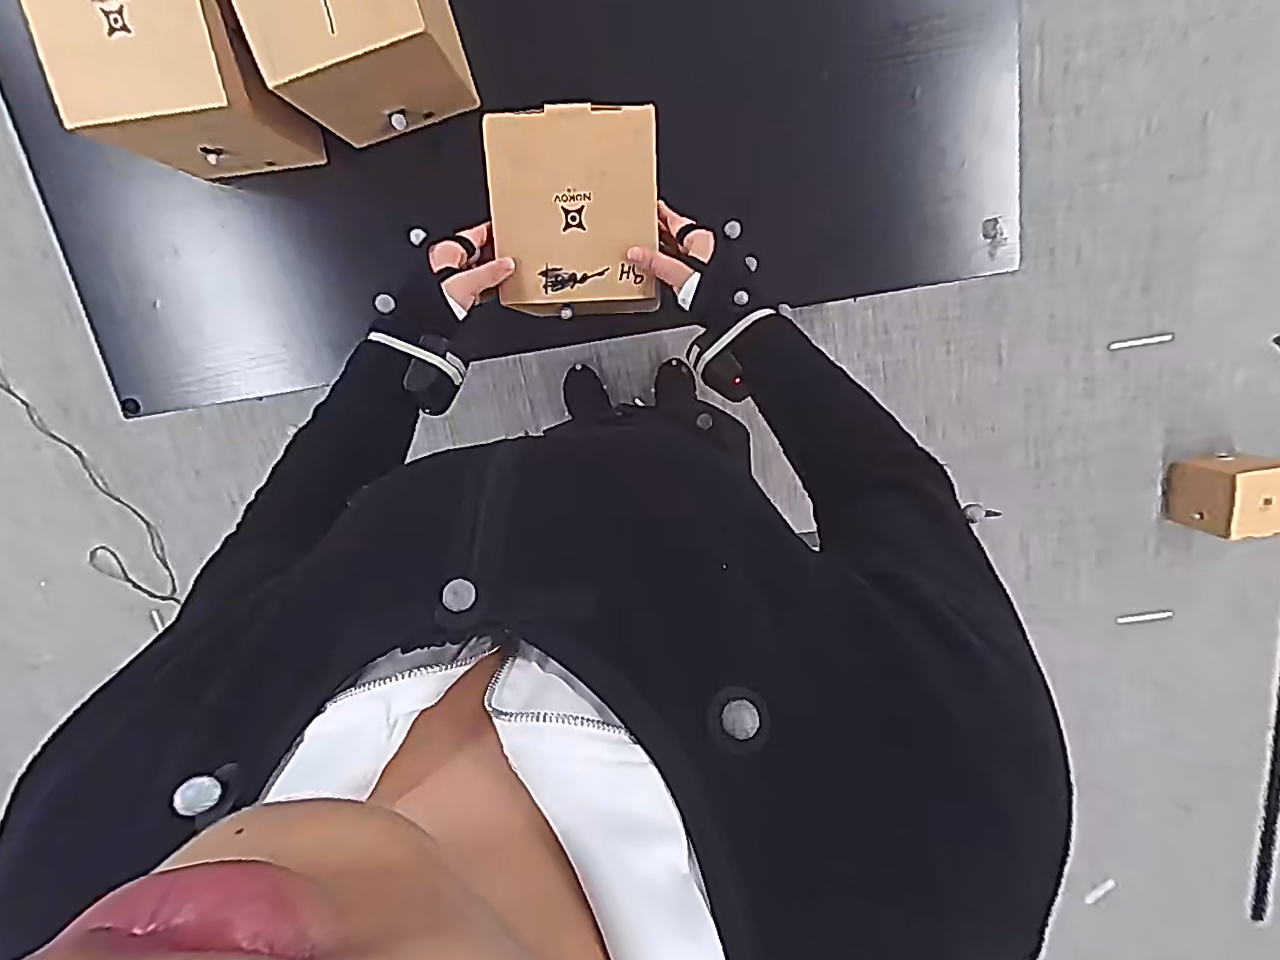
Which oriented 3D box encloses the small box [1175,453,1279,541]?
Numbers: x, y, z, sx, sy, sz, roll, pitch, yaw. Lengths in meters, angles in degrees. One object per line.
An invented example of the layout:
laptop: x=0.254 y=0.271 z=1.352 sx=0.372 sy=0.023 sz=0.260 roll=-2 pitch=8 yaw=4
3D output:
small box: x=1.535 y=0.039 z=1.389 sx=0.168 sy=0.176 sz=0.179 roll=-10 pitch=102 yaw=3

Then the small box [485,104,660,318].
small box: x=-0.063 y=-0.283 z=0.607 sx=0.168 sy=0.176 sz=0.179 roll=-2 pitch=102 yaw=3

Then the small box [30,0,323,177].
small box: x=-0.478 y=-0.445 z=0.580 sx=0.168 sy=0.176 sz=0.179 roll=-7 pitch=103 yaw=2
